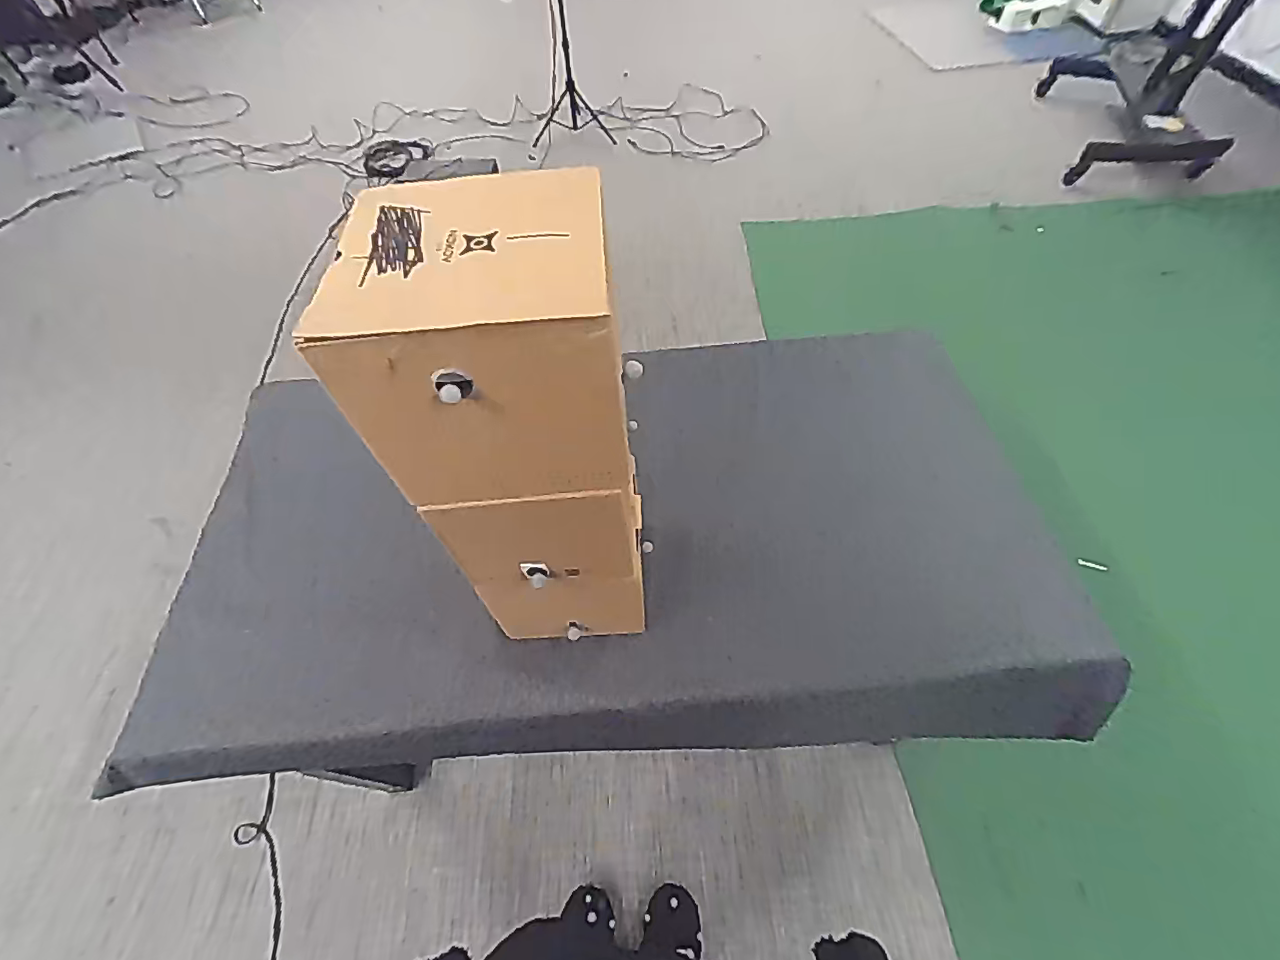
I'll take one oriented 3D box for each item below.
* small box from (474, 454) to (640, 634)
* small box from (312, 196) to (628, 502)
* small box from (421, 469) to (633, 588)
[{"bbox_3d":[-0.091,0.085,0.678,0.179,0.176,0.168,-3,55,-1],"label":"small box"},{"bbox_3d":[-0.106,-0.092,0.424,0.179,0.176,0.168,-5,56,0],"label":"small box"},{"bbox_3d":[-0.098,-0.010,0.546,0.168,0.176,0.179,-6,57,0],"label":"small box"}]
